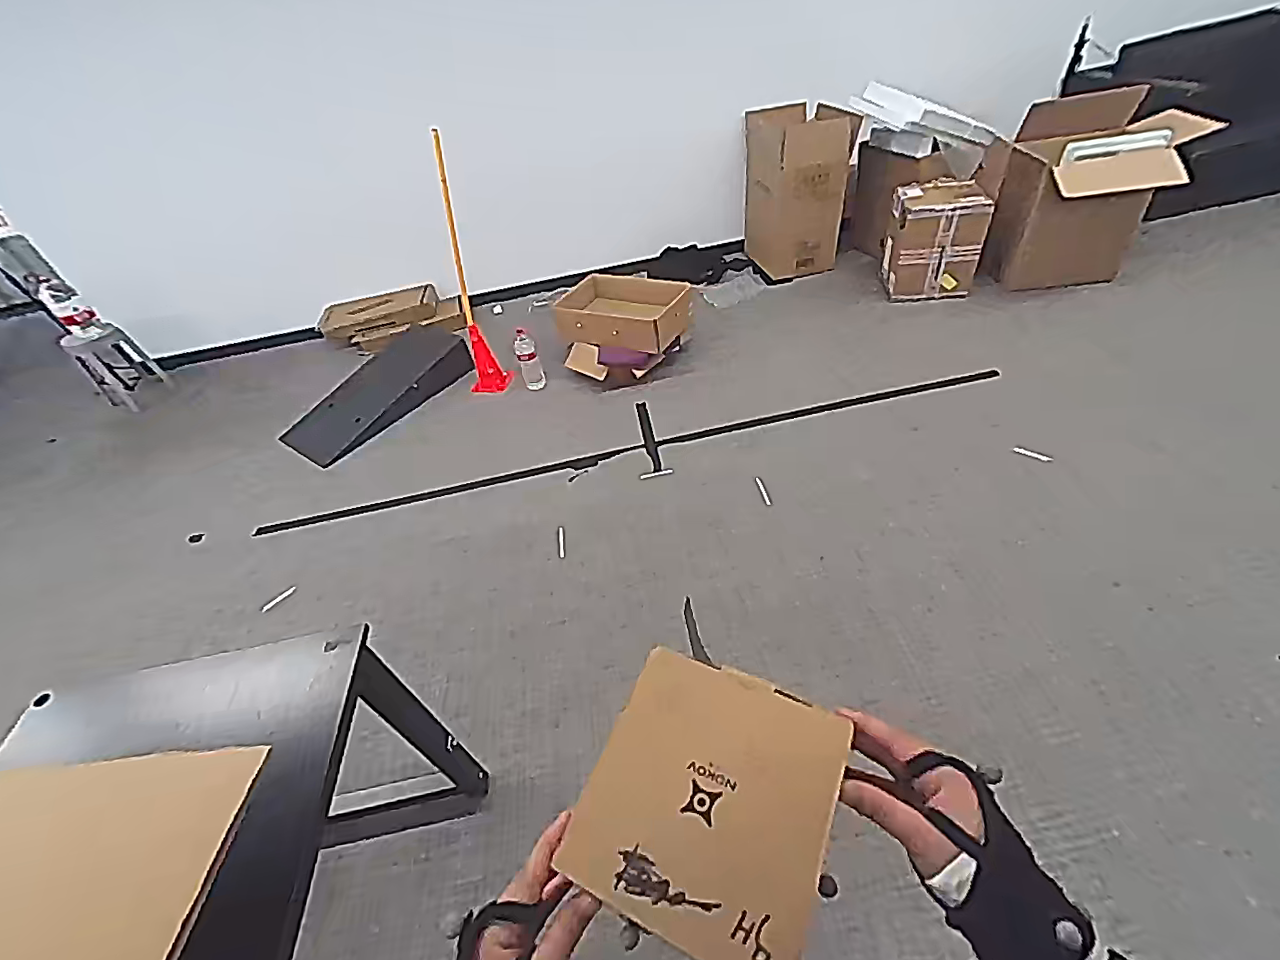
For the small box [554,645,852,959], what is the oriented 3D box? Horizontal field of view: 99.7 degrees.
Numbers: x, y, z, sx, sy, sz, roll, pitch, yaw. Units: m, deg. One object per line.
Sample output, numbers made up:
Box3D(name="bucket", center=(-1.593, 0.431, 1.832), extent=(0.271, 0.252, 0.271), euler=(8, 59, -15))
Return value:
Box3D(name="small box", center=(0.061, 0.274, 0.440), extent=(0.168, 0.176, 0.179), euler=(13, 50, 26))
